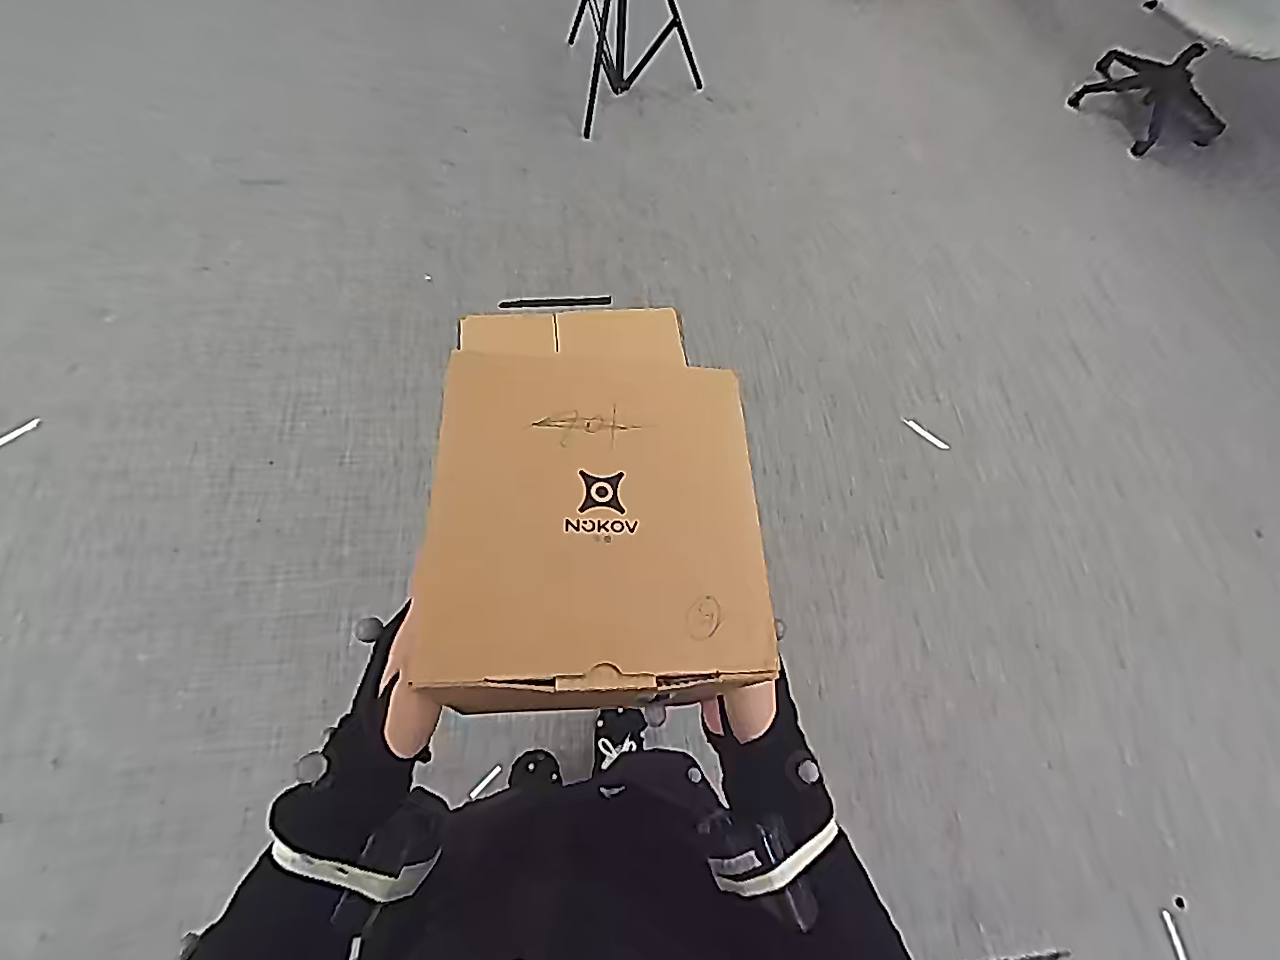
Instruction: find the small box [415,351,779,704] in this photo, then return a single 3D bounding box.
[{"bbox_3d":[-0.032,0.044,0.345,0.168,0.176,0.179,2,63,-11],"label":"small box"}]
